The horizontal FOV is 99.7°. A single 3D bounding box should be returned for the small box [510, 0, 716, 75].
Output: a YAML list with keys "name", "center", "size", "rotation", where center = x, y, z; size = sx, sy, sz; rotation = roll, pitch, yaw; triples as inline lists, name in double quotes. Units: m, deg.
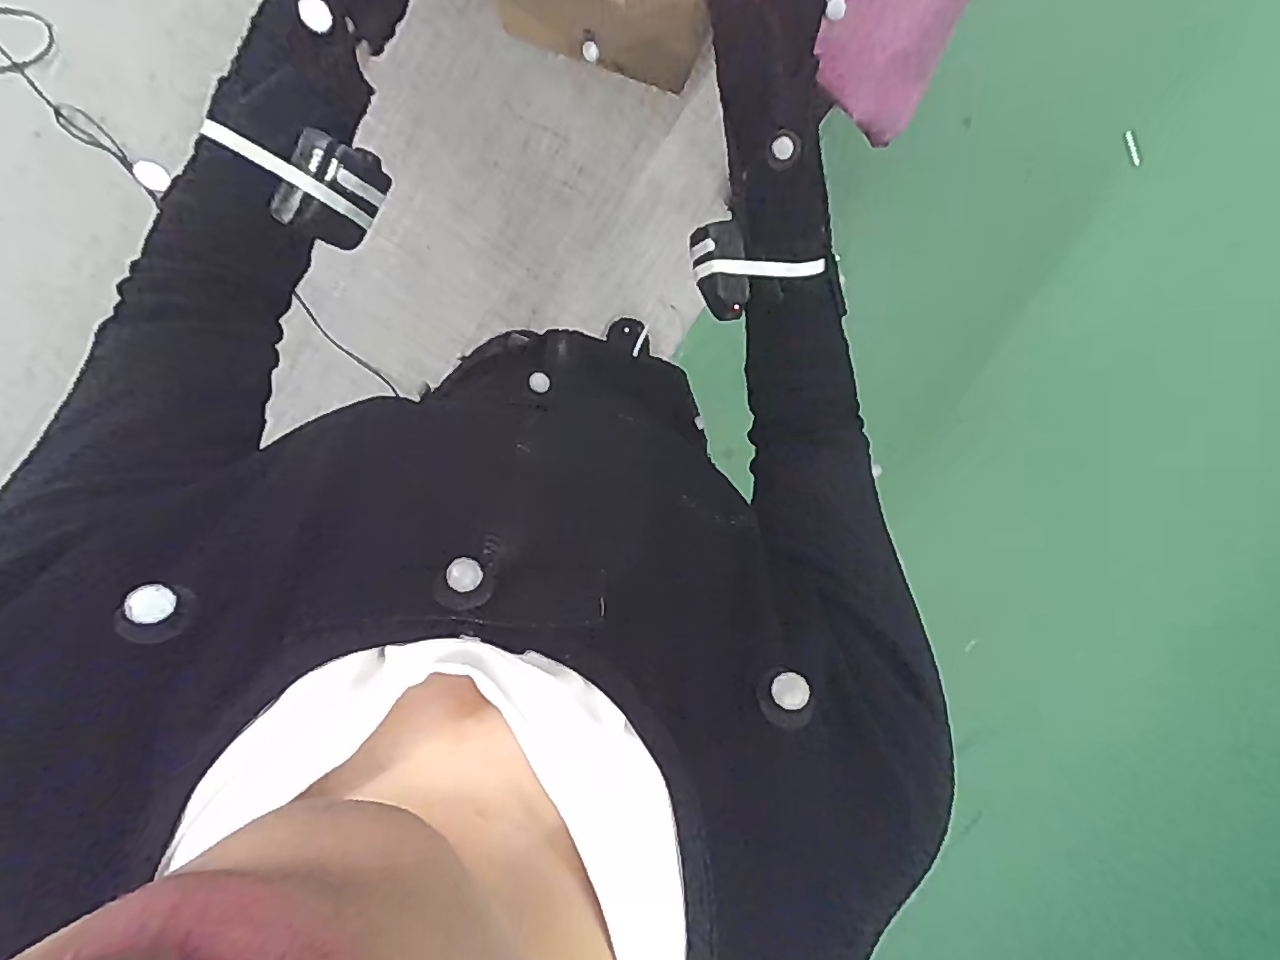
- name: "small box"
  center: [-0.011, -0.432, 0.375]
  size: [0.168, 0.176, 0.179]
  rotation: [13, 108, -8]
